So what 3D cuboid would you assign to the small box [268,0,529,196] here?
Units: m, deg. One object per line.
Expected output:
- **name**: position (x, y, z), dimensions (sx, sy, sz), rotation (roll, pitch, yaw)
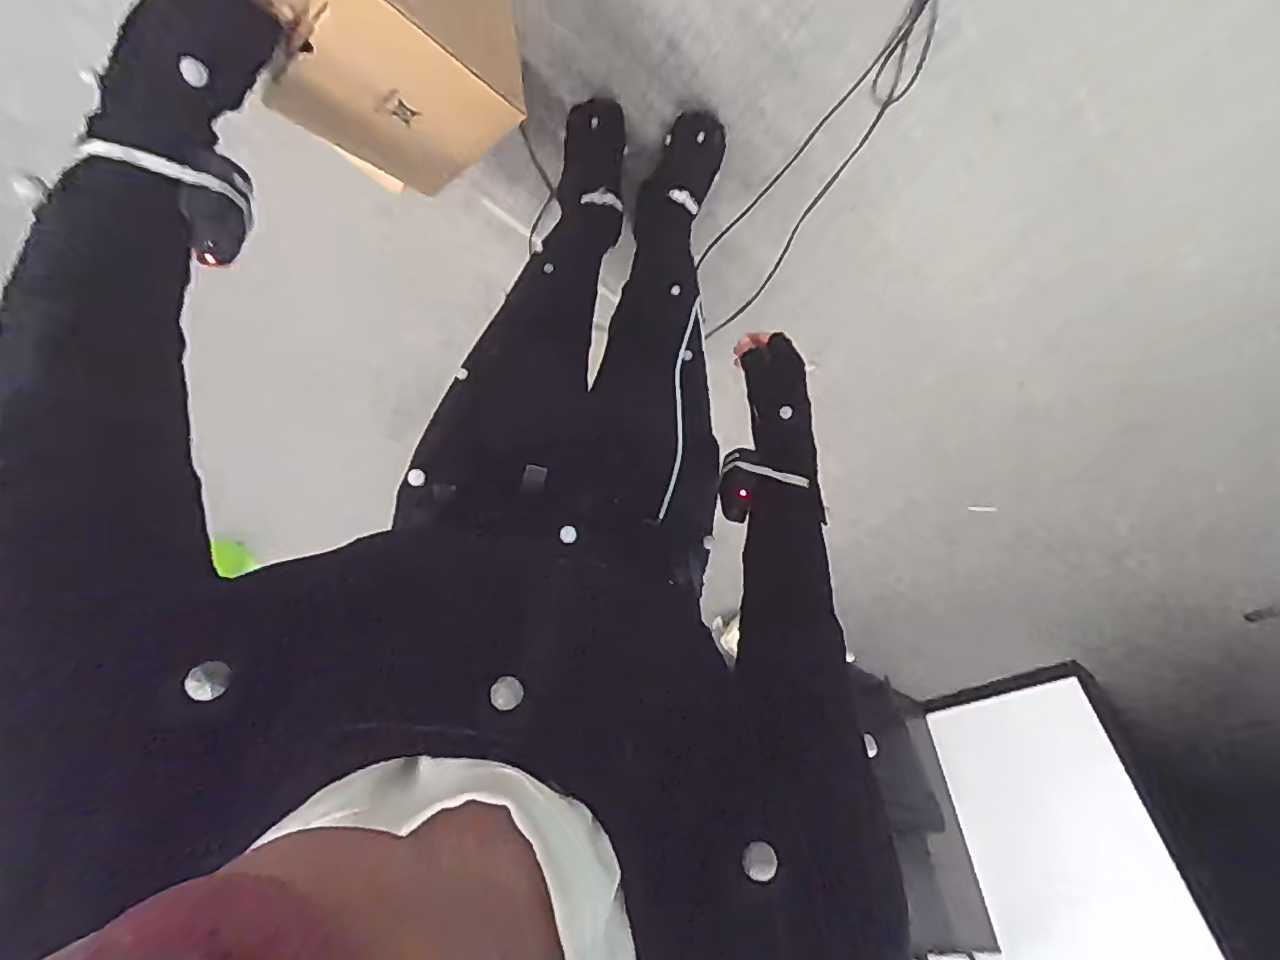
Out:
- **small box**: position (-0.232, -0.427, 0.524), dimensions (0.168, 0.176, 0.179), rotation (-15, 167, 36)
